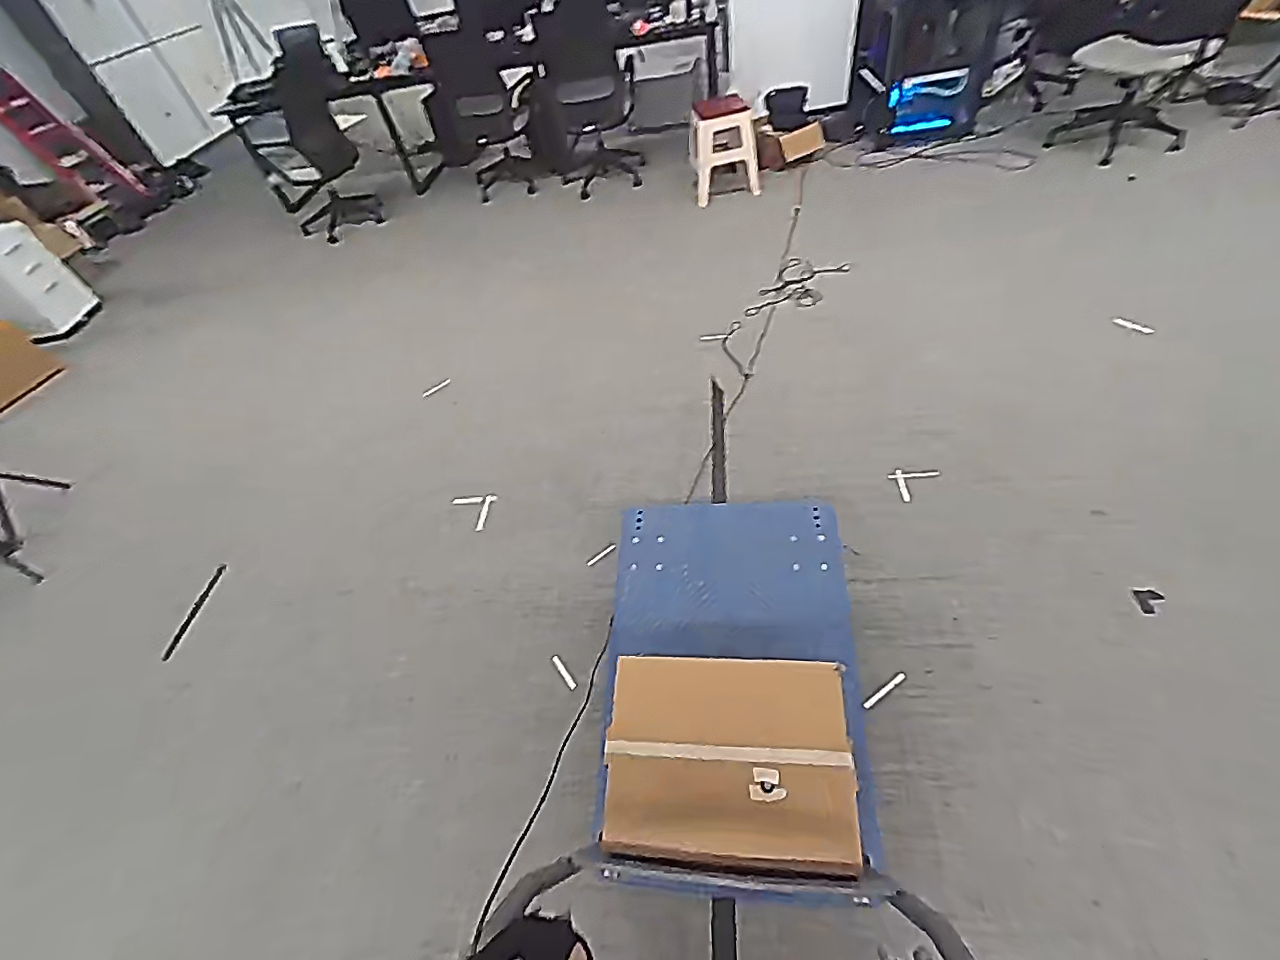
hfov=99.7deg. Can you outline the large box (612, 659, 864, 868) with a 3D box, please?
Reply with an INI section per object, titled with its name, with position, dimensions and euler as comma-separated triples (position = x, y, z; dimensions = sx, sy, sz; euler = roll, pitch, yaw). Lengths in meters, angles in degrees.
[large box]
position = 0.175, 0.549, 1.056
dimensions = 0.408, 0.320, 0.320
euler = -2, 58, 9
